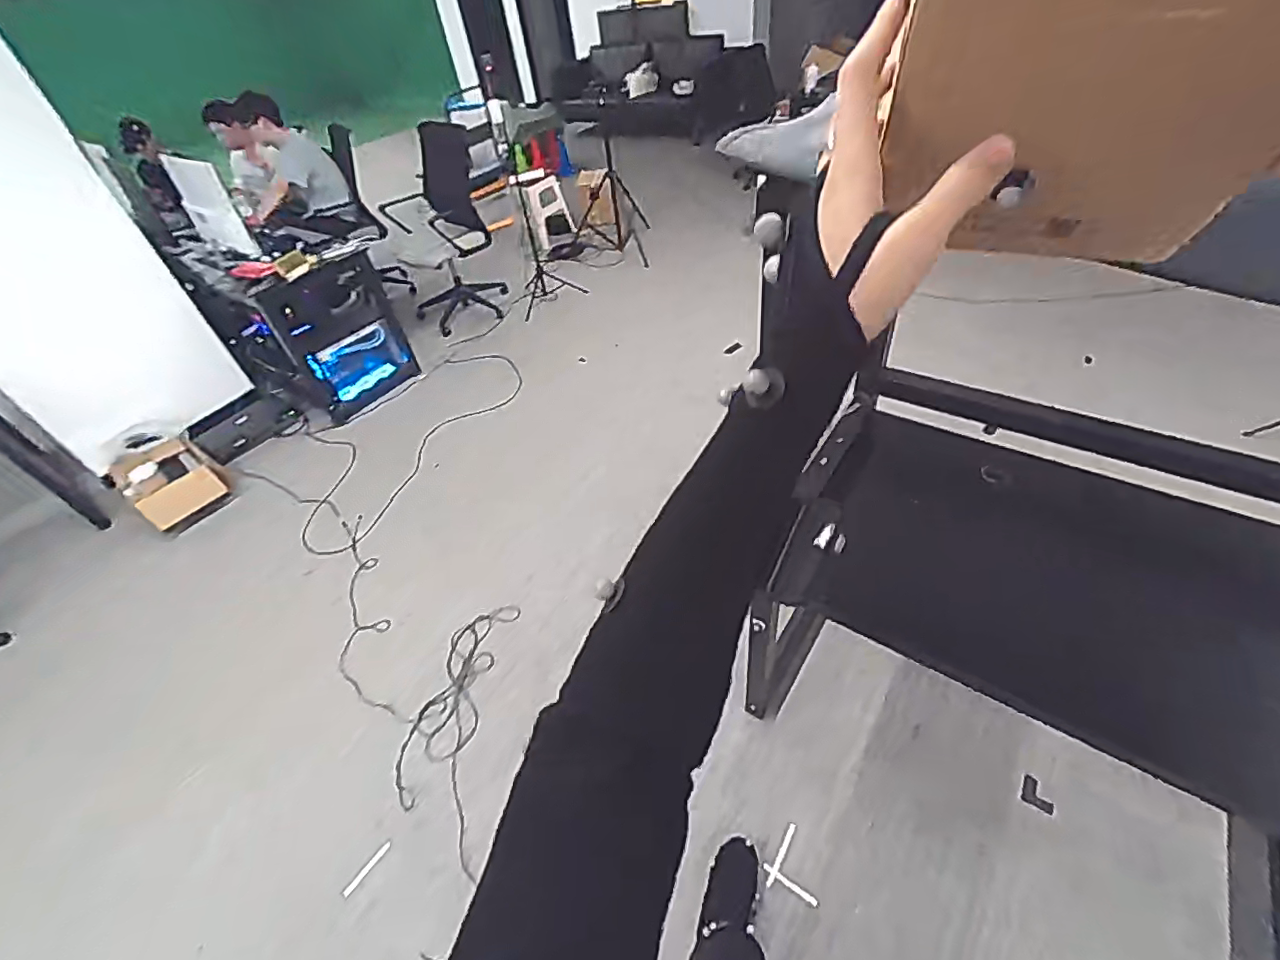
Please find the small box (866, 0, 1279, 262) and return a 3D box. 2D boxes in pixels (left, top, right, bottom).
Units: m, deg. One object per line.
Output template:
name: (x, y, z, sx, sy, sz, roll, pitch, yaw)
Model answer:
small box: (0.217, -0.237, 0.263, 0.168, 0.176, 0.179, 10, 80, 16)
